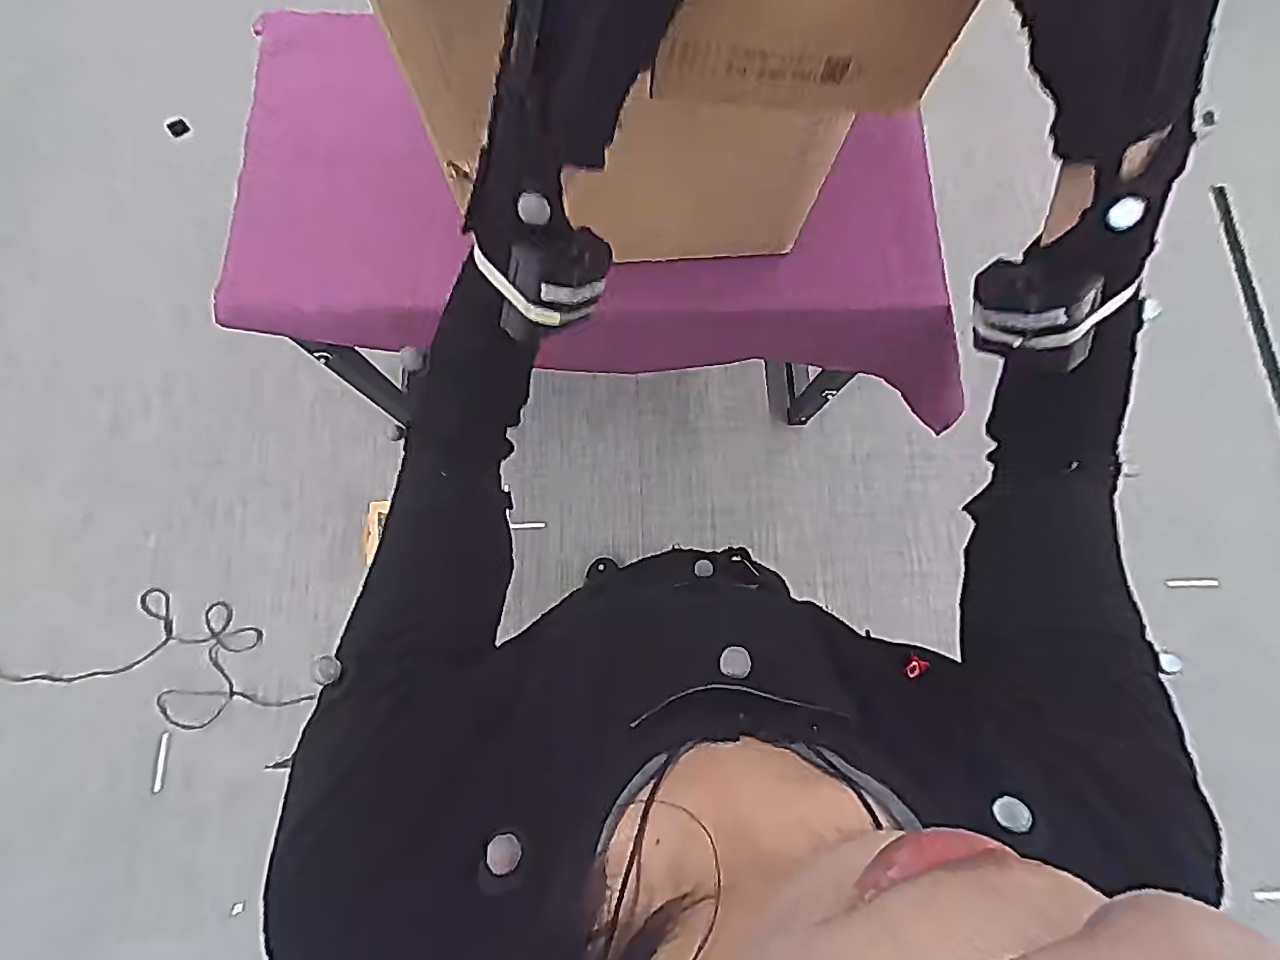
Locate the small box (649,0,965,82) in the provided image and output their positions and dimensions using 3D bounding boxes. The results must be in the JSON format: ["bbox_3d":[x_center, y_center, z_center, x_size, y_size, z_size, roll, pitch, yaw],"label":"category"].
[{"bbox_3d":[0.093,-0.336,0.263,0.168,0.176,0.179,-1,72,-7],"label":"small box"}]
